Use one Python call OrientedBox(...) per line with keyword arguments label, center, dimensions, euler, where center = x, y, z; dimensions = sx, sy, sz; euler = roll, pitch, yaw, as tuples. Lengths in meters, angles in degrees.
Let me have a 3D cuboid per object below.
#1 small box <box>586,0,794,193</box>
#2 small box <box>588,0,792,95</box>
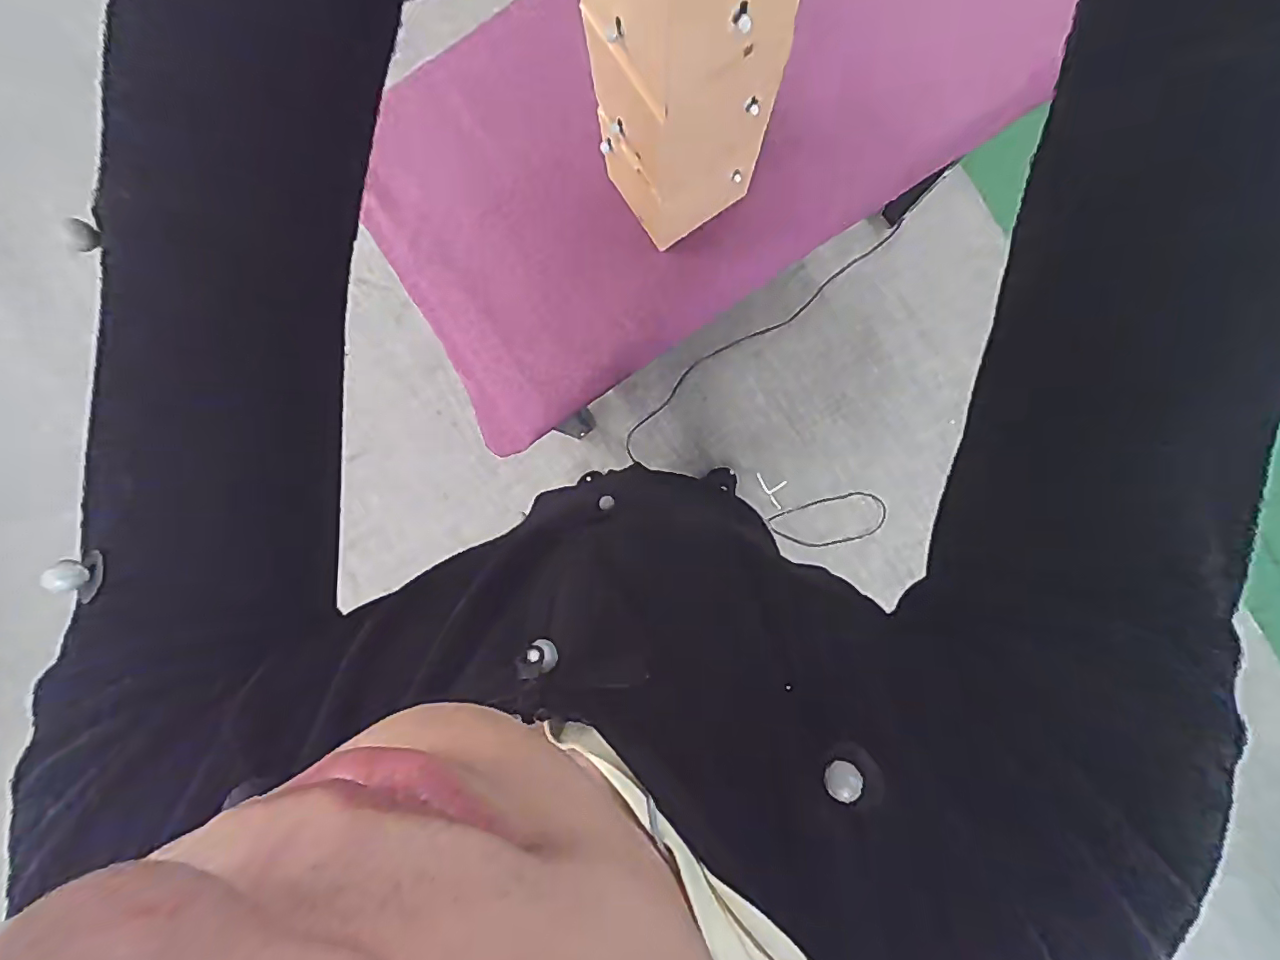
OrientedBox(label="small box", center=(0.056, -0.504, 0.668), dimensions=(0.179, 0.176, 0.168), euler=(-33, 88, 2))
OrientedBox(label="small box", center=(0.045, -0.511, 0.505), dimensions=(0.168, 0.176, 0.179), euler=(-34, 89, 1))
